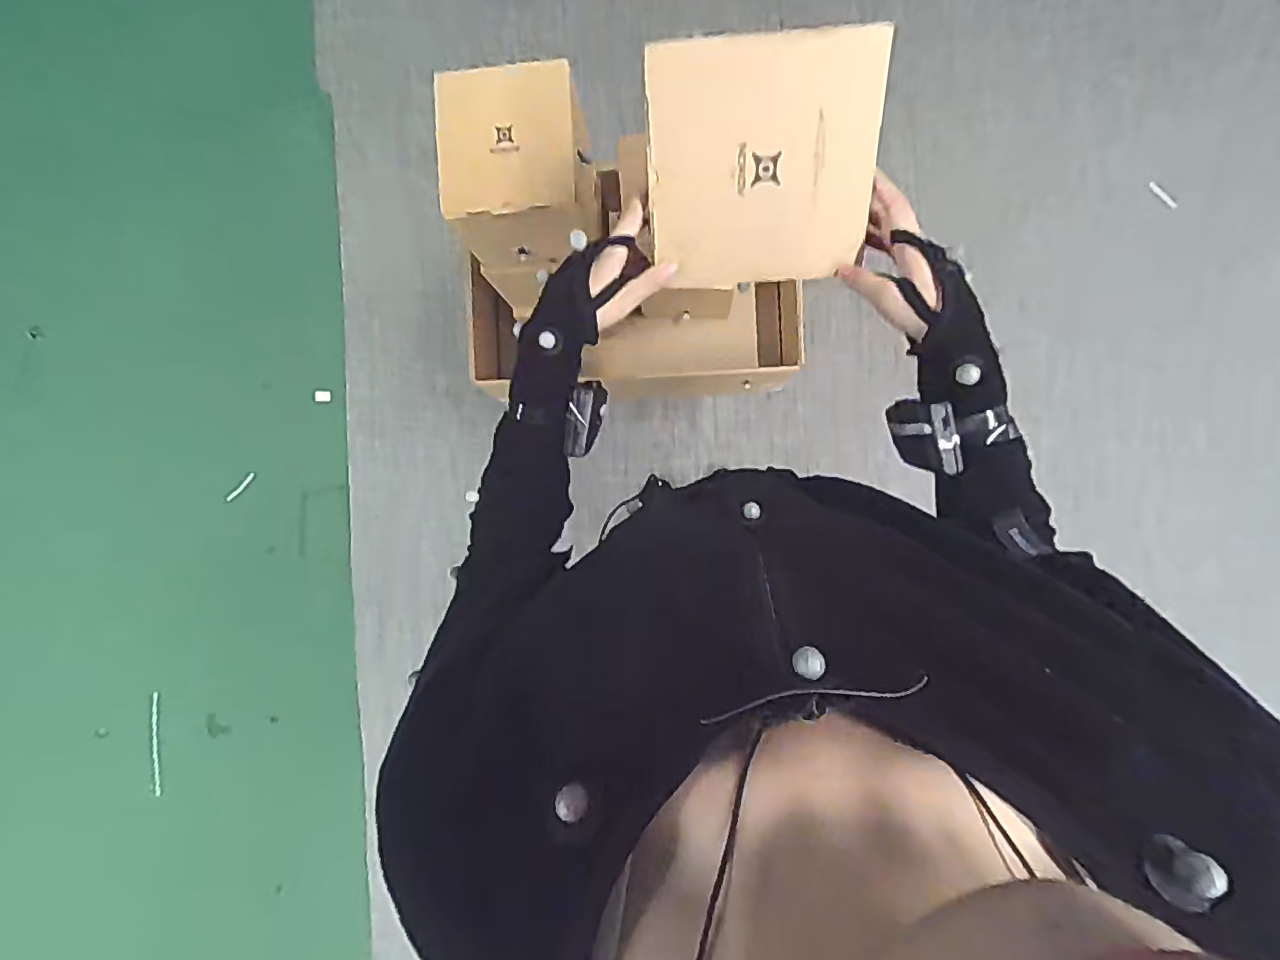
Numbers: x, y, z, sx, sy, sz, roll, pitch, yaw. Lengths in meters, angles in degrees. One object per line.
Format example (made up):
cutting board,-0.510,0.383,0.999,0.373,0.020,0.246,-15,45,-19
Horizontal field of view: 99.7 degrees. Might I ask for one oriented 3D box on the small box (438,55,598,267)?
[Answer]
small box,-0.151,-0.406,0.715,0.168,0.176,0.179,-4,89,4
